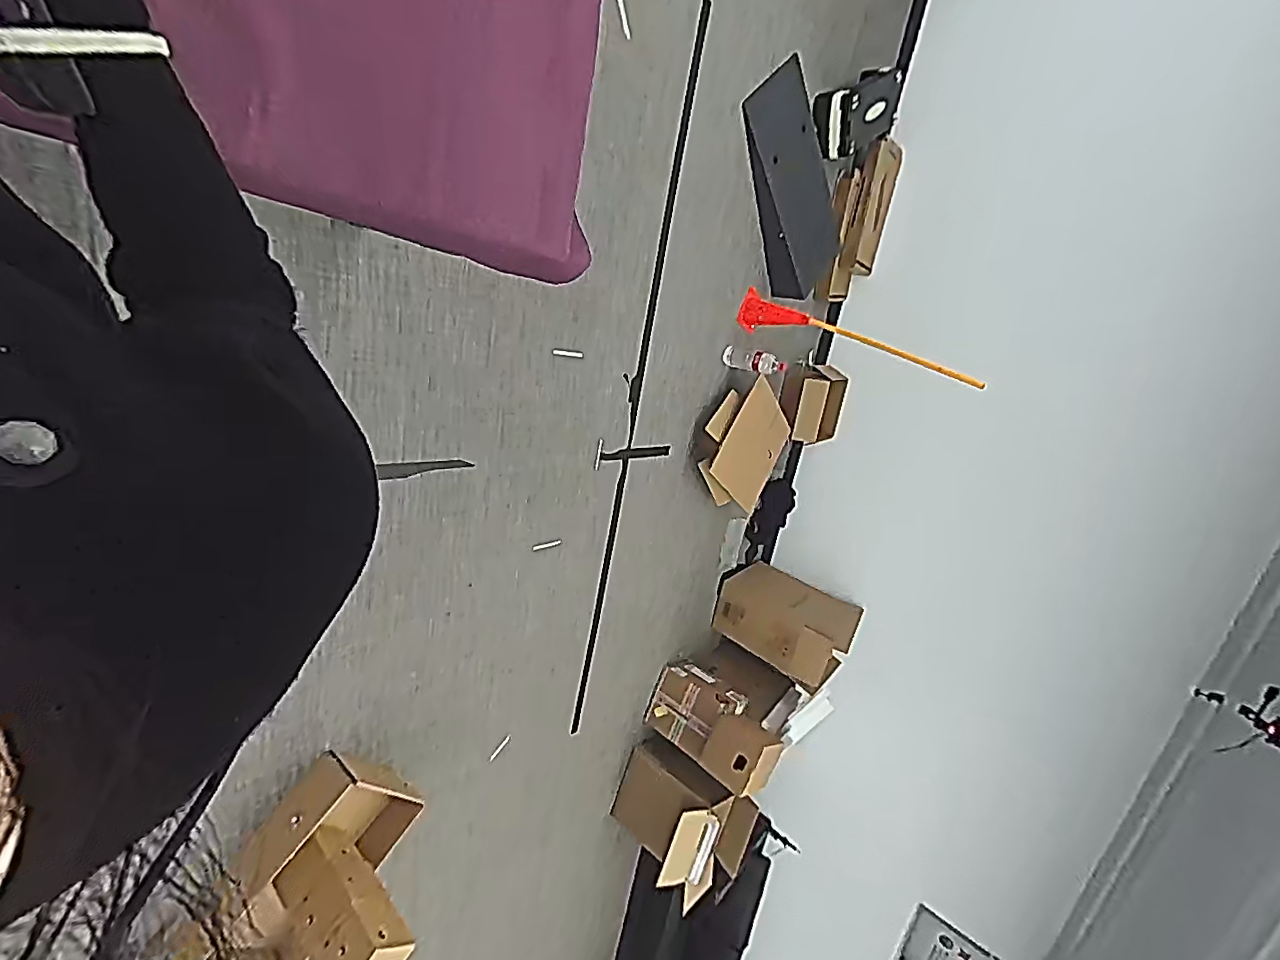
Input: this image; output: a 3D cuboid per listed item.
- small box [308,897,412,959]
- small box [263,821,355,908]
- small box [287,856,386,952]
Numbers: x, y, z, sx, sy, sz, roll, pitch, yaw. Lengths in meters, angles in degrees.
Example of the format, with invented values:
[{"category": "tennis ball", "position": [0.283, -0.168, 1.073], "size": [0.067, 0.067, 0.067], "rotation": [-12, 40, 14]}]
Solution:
[{"category": "small box", "position": [-0.810, 1.346, 1.560], "size": [0.168, 0.176, 0.179], "rotation": [-52, 143, -17]}, {"category": "small box", "position": [-1.059, 1.238, 1.744], "size": [0.168, 0.176, 0.179], "rotation": [-51, 142, -22]}, {"category": "small box", "position": [-0.932, 1.289, 1.656], "size": [0.168, 0.176, 0.179], "rotation": [-53, 144, -17]}]
